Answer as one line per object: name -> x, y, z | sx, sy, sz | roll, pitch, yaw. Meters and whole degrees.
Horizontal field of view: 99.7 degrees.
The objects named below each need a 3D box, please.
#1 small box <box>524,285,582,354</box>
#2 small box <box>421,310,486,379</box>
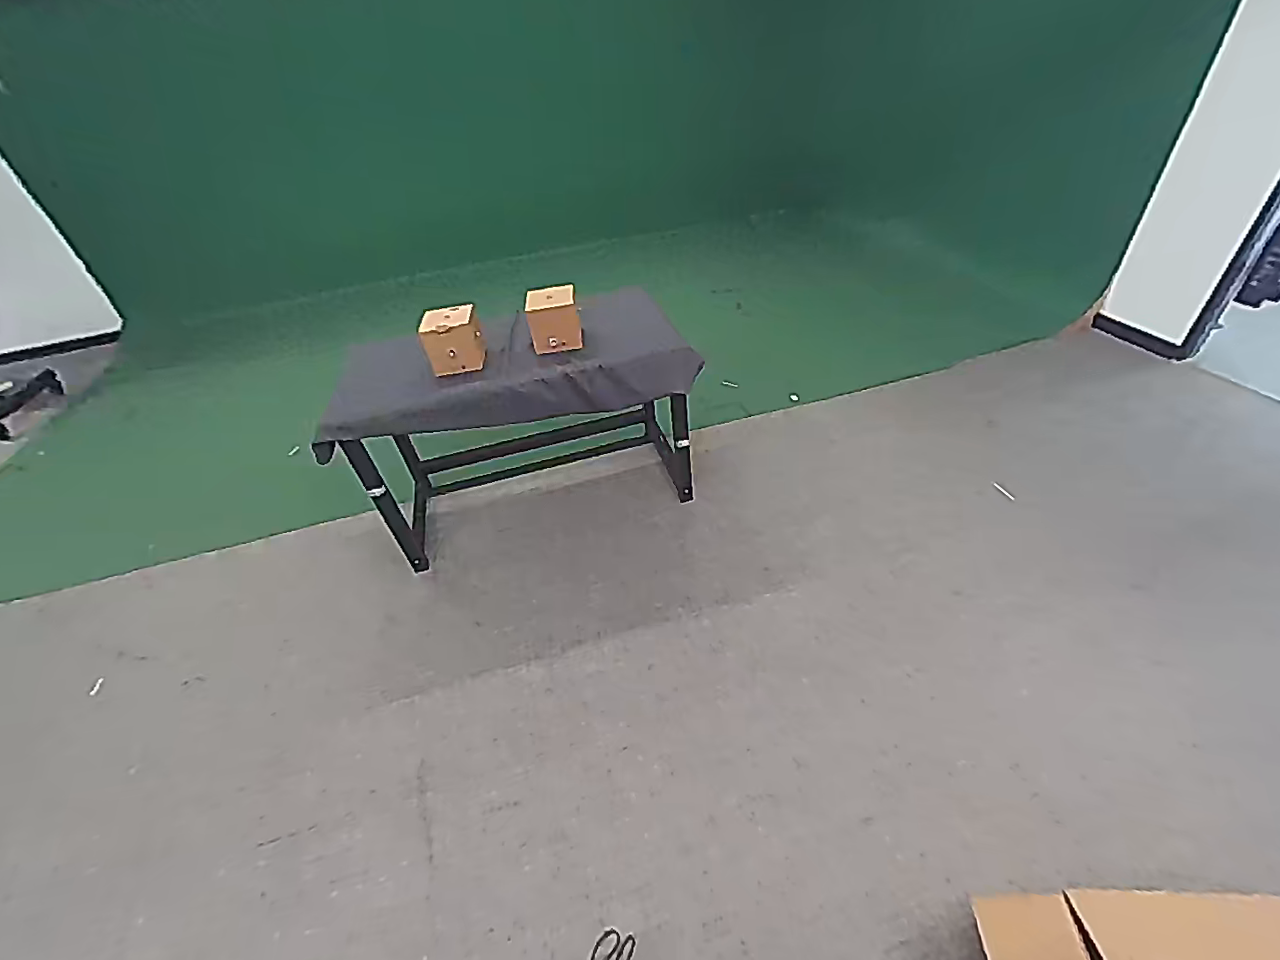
small box -> -0.302, -0.566, 1.911 | 0.168, 0.176, 0.179 | -9, 40, 2
small box -> -0.640, -0.465, 1.877 | 0.168, 0.176, 0.179 | -13, 40, -4
